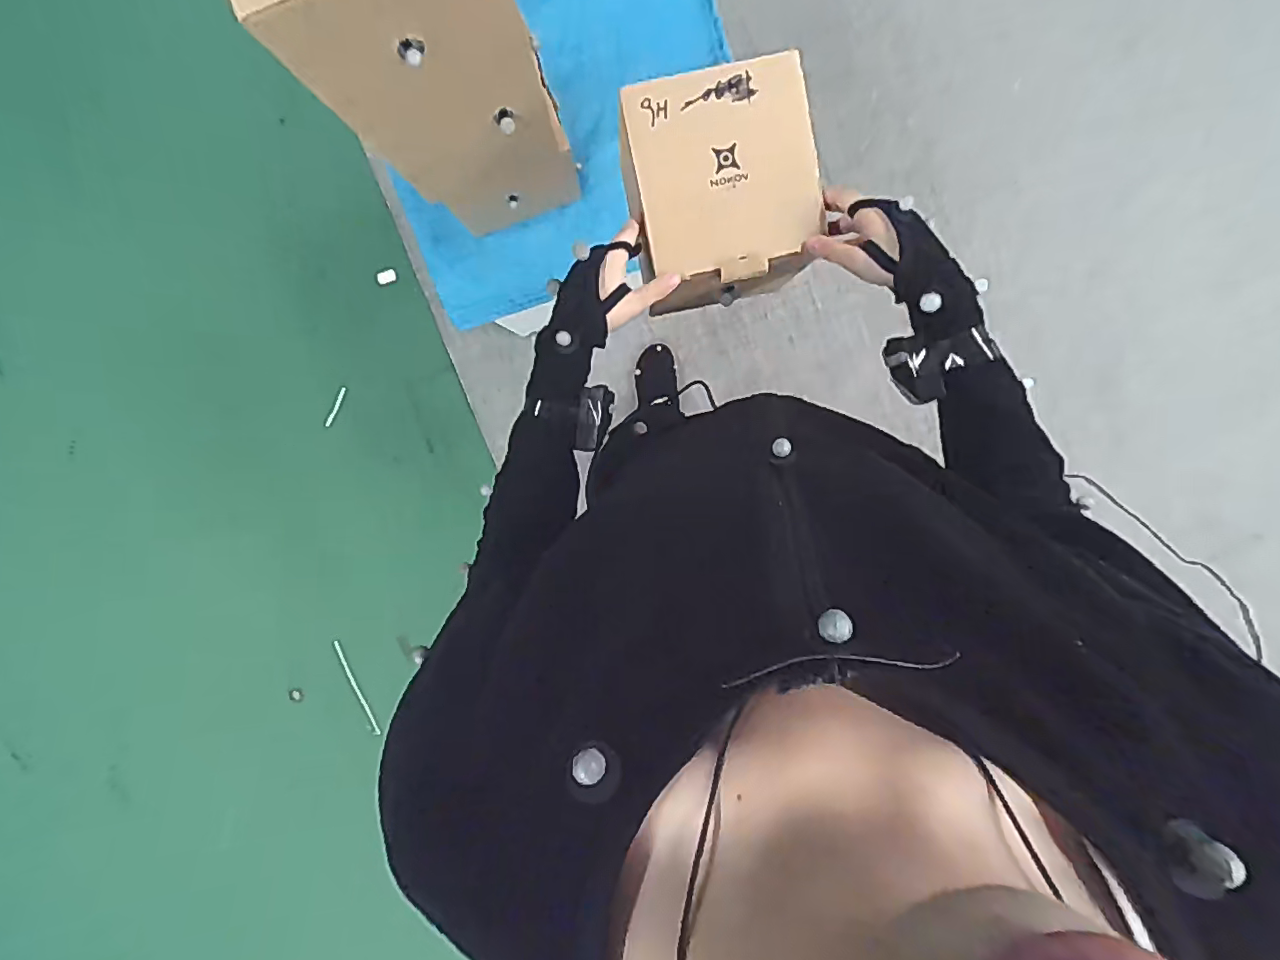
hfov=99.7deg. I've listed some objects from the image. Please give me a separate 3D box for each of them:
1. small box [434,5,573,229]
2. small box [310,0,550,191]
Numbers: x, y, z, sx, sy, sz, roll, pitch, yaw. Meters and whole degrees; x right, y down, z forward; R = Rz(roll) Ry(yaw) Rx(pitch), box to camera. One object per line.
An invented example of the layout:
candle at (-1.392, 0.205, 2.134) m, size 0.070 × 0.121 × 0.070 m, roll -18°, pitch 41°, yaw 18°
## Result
small box at (-0.196, -0.465, 0.720) m, size 0.179 × 0.176 × 0.168 m, roll -20°, pitch 98°, yaw 2°
small box at (-0.202, -0.434, 0.559) m, size 0.179 × 0.176 × 0.168 m, roll -20°, pitch 98°, yaw 2°
